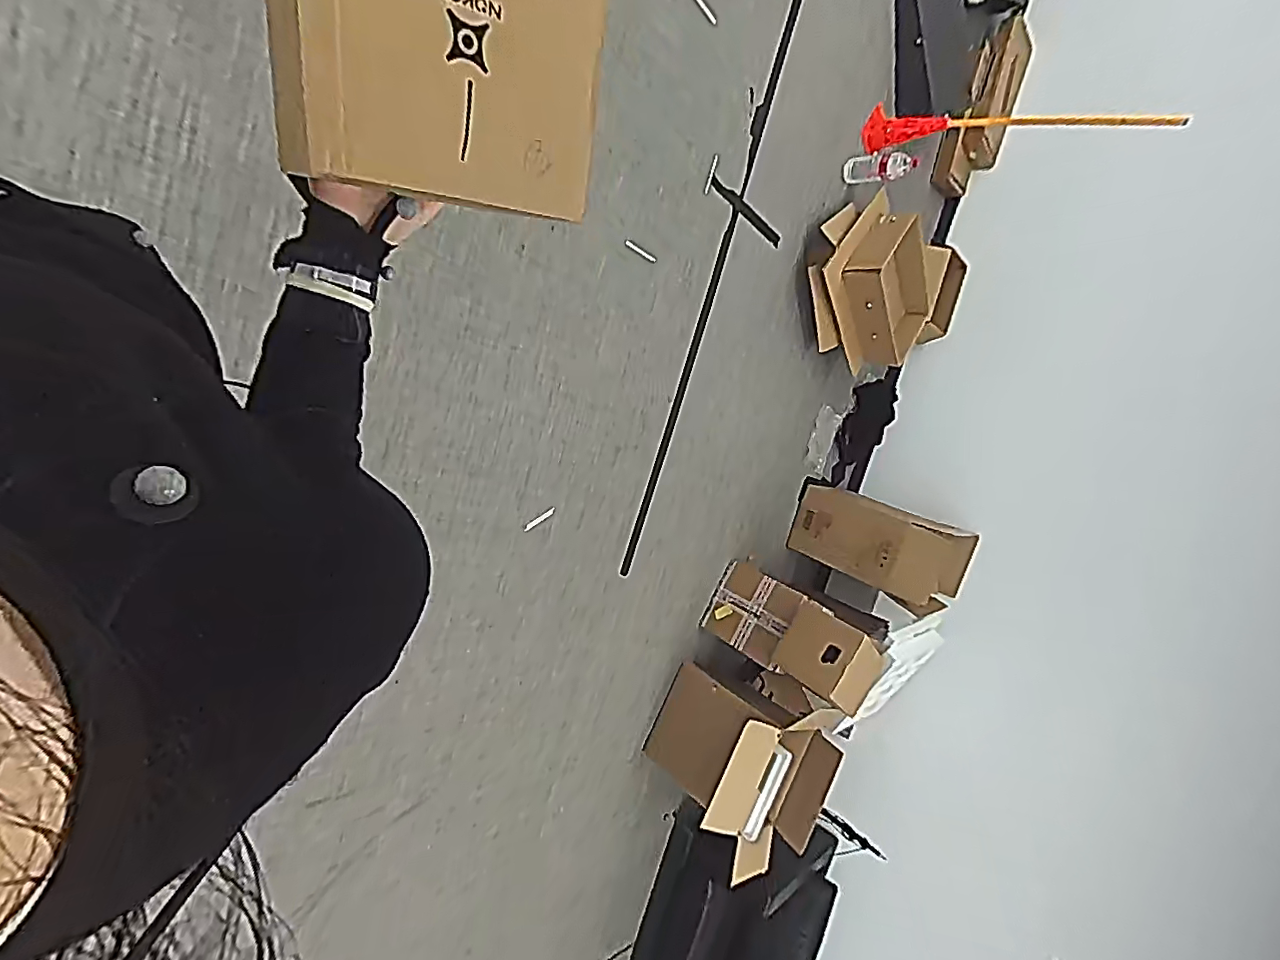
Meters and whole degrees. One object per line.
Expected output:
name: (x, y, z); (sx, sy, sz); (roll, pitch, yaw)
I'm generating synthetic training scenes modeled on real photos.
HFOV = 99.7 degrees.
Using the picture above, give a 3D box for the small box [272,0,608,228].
small box: (-0.140, -0.282, 0.361); (0.168, 0.176, 0.179); (-8, 119, -36)
